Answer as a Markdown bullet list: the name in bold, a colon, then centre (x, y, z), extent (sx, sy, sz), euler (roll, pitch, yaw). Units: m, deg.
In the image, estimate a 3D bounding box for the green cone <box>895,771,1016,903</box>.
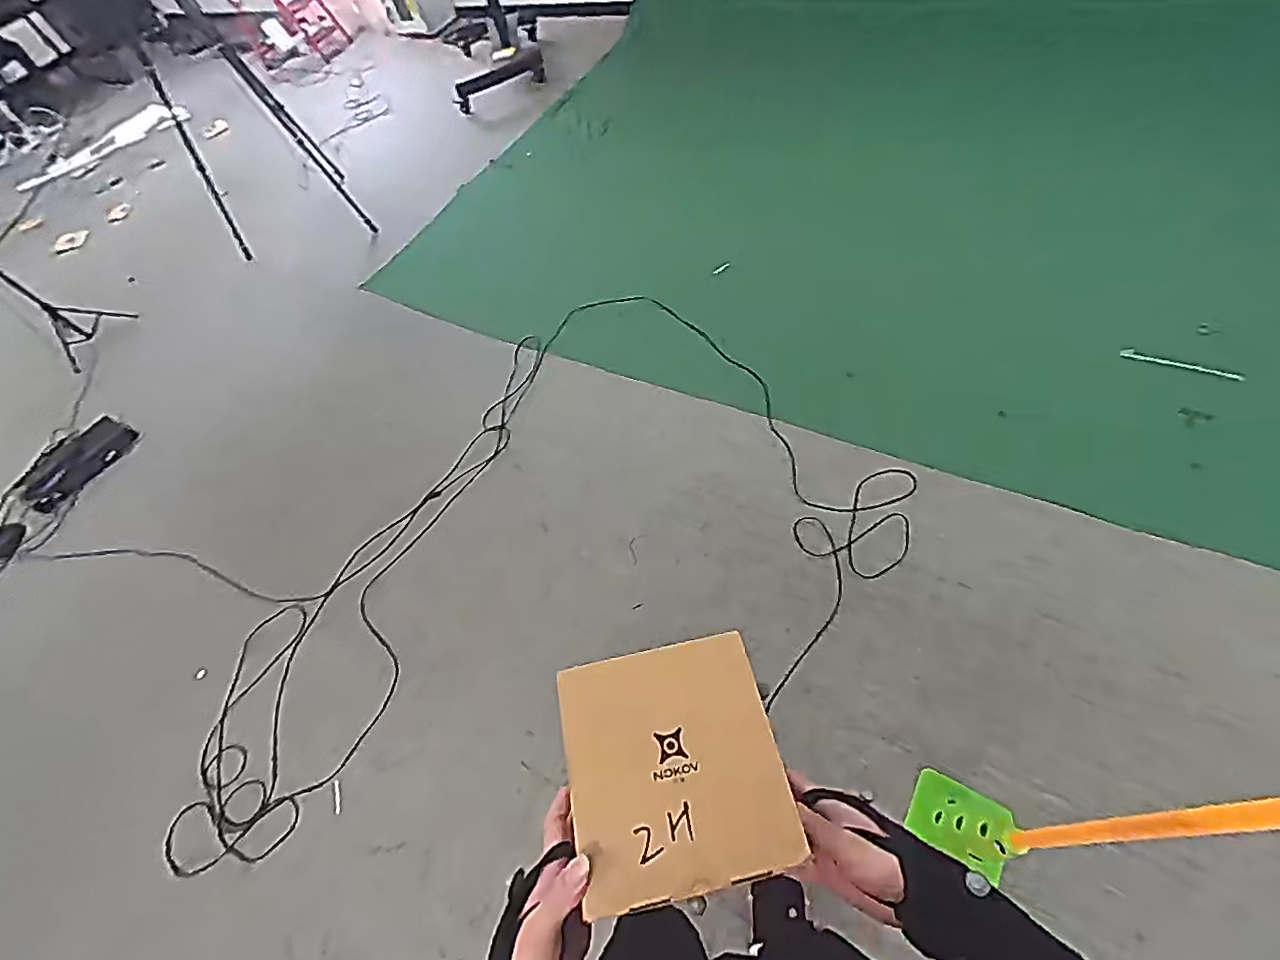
- **green cone**: centre (0.679, 0.719, 1.094), extent (0.202, 0.368, 0.200), euler (22, 66, 25)
